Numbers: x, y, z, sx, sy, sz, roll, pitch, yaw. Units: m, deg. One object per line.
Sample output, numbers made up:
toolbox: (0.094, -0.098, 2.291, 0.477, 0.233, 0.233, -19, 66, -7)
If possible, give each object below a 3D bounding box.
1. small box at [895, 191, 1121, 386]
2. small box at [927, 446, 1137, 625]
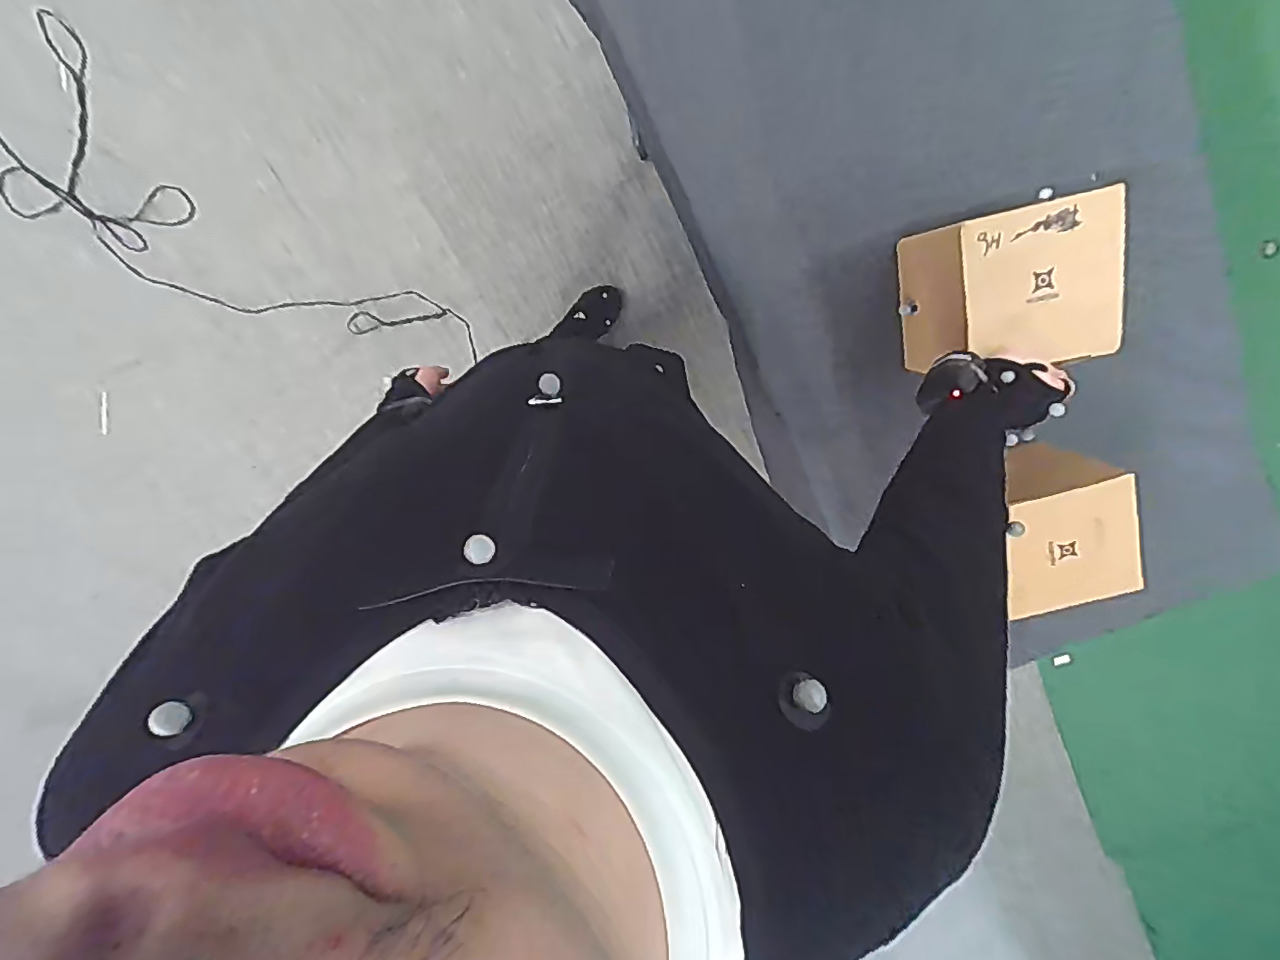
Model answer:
small box: (0.431, -0.227, 0.661, 0.168, 0.176, 0.179, -11, 107, 5)
small box: (0.521, 0.068, 0.744, 0.179, 0.176, 0.168, -17, 107, 6)
